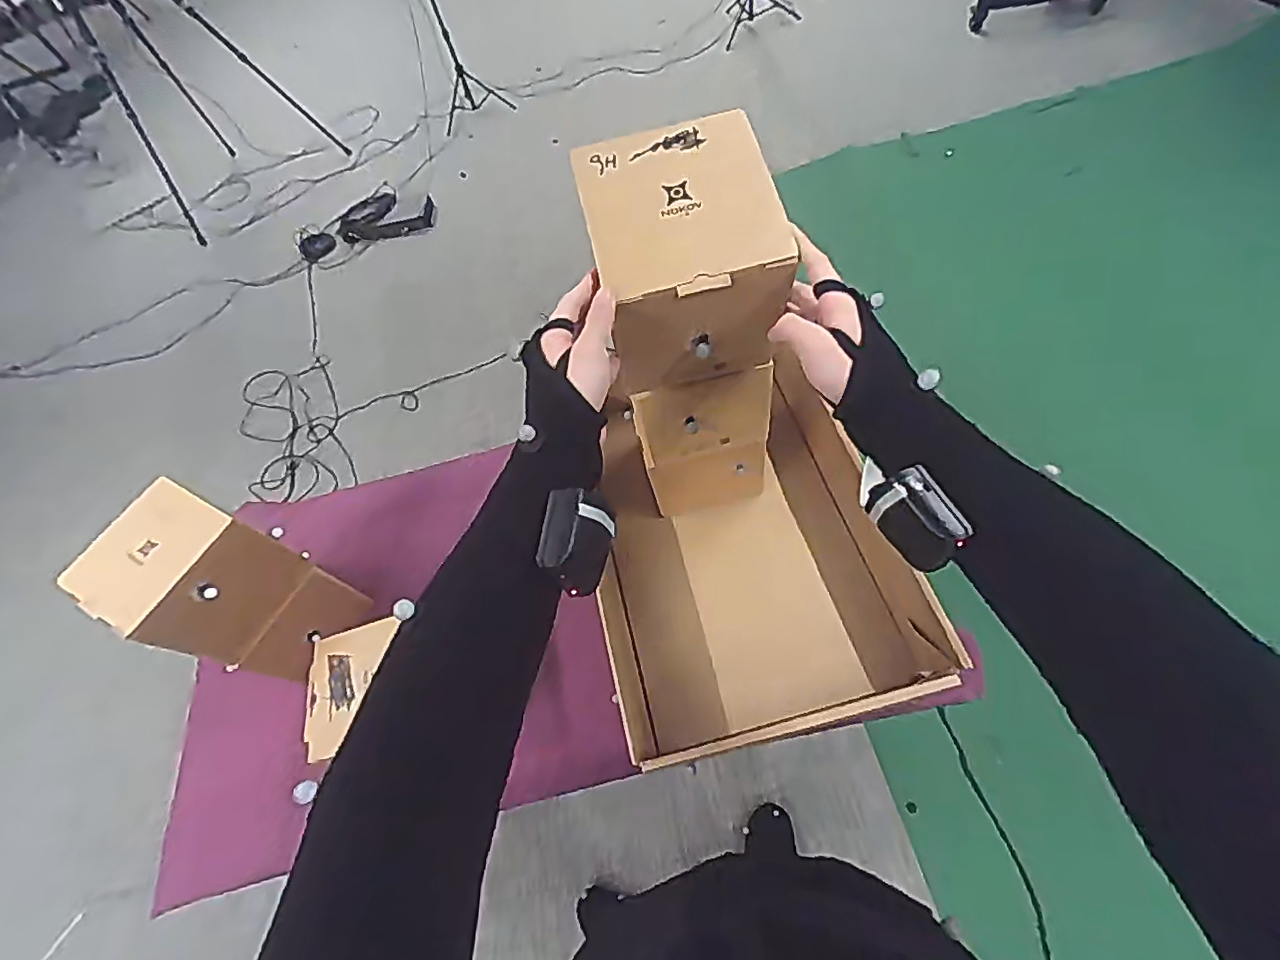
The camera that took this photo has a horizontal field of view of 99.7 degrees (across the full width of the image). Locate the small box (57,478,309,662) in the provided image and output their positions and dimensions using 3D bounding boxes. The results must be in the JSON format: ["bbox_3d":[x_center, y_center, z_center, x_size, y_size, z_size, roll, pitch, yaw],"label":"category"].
[{"bbox_3d":[-0.621,0.132,0.760,0.168,0.176,0.179,23,66,20],"label":"small box"}]

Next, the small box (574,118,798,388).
[{"bbox_3d":[0.042,-0.209,0.545,0.168,0.176,0.179,-13,72,0],"label":"small box"}]

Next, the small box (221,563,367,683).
[{"bbox_3d":[-0.601,0.218,0.897,0.179,0.176,0.168,22,66,21],"label":"small box"}]

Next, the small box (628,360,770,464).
[{"bbox_3d":[0.070,-0.138,0.729,0.168,0.176,0.179,-15,59,3],"label":"small box"}]
